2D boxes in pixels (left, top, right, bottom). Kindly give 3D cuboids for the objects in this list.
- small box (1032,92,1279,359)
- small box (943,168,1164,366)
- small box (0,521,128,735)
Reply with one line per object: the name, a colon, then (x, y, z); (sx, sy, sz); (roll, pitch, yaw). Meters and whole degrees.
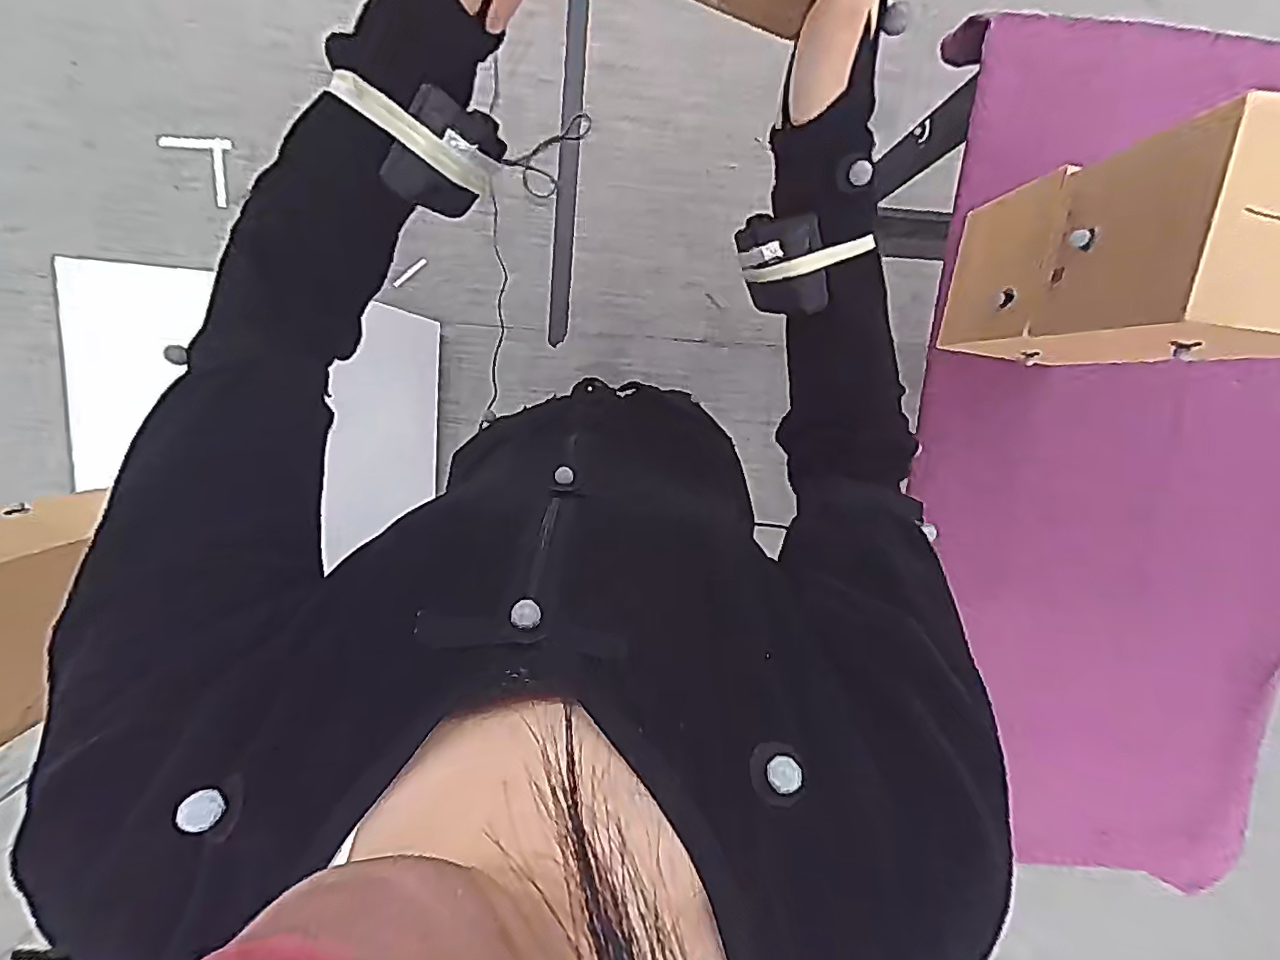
small box: (0.509, -0.202, 0.483); (0.179, 0.176, 0.168); (8, 100, -2)
small box: (0.497, -0.234, 0.644); (0.168, 0.176, 0.179); (8, 99, -3)
small box: (-0.630, 0.138, 0.489); (0.179, 0.176, 0.168); (3, 101, -2)
